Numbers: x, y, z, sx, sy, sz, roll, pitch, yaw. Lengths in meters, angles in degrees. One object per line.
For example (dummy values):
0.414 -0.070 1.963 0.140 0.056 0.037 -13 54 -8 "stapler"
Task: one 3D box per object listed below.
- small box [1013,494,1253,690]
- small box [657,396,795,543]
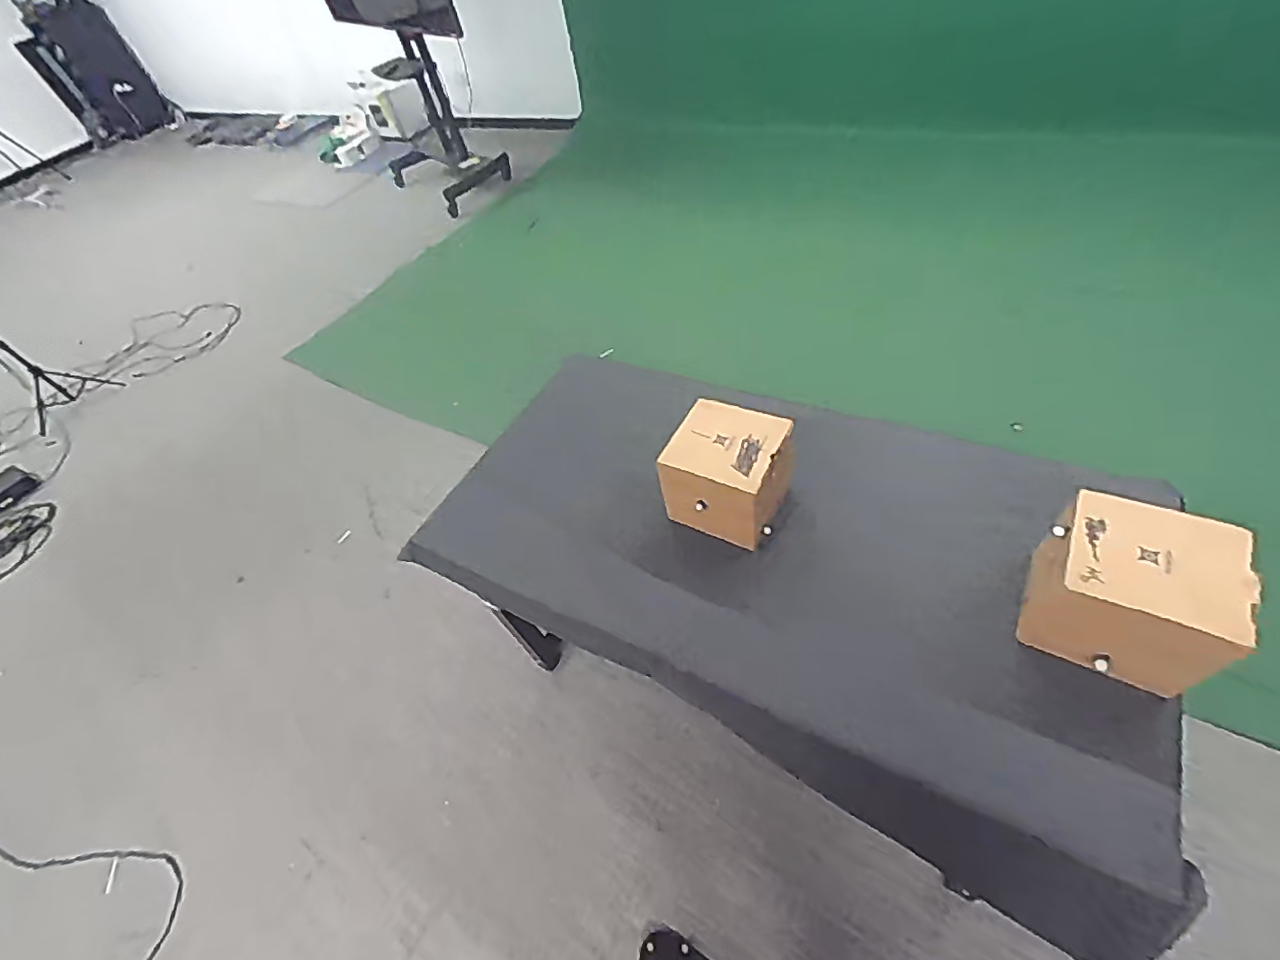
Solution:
0.636 0.153 0.714 0.179 0.176 0.168 21 57 25 "small box"
0.153 -0.013 0.942 0.179 0.176 0.168 20 57 26 "small box"
